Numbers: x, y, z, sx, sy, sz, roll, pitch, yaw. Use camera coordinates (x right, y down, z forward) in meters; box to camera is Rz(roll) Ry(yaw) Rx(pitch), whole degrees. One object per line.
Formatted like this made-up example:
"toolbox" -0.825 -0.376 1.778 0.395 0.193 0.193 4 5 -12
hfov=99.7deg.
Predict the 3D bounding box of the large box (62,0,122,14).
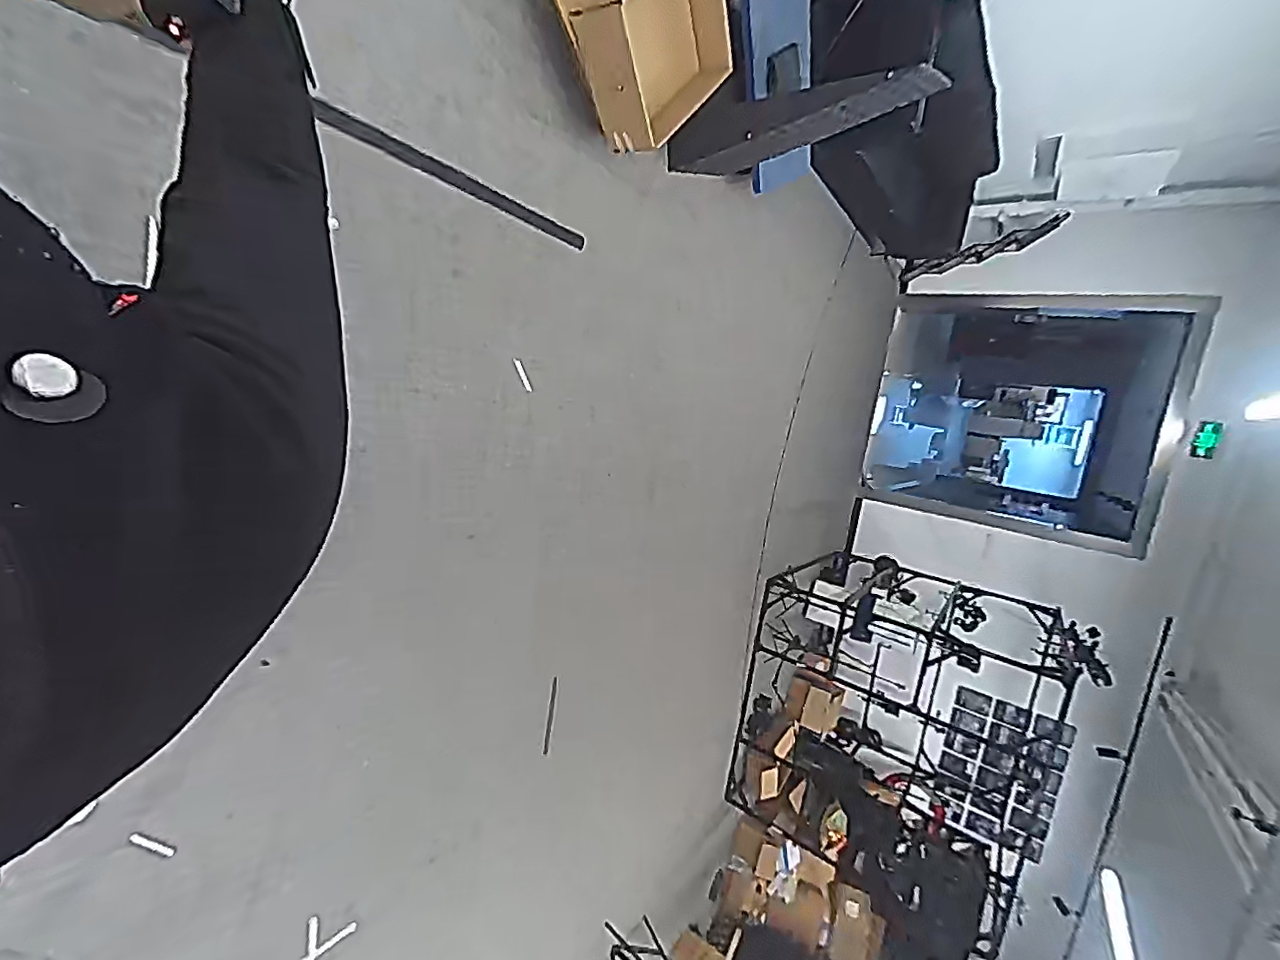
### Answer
"large box" -0.523 -0.553 0.280 0.408 0.320 0.320 -5 115 -53
